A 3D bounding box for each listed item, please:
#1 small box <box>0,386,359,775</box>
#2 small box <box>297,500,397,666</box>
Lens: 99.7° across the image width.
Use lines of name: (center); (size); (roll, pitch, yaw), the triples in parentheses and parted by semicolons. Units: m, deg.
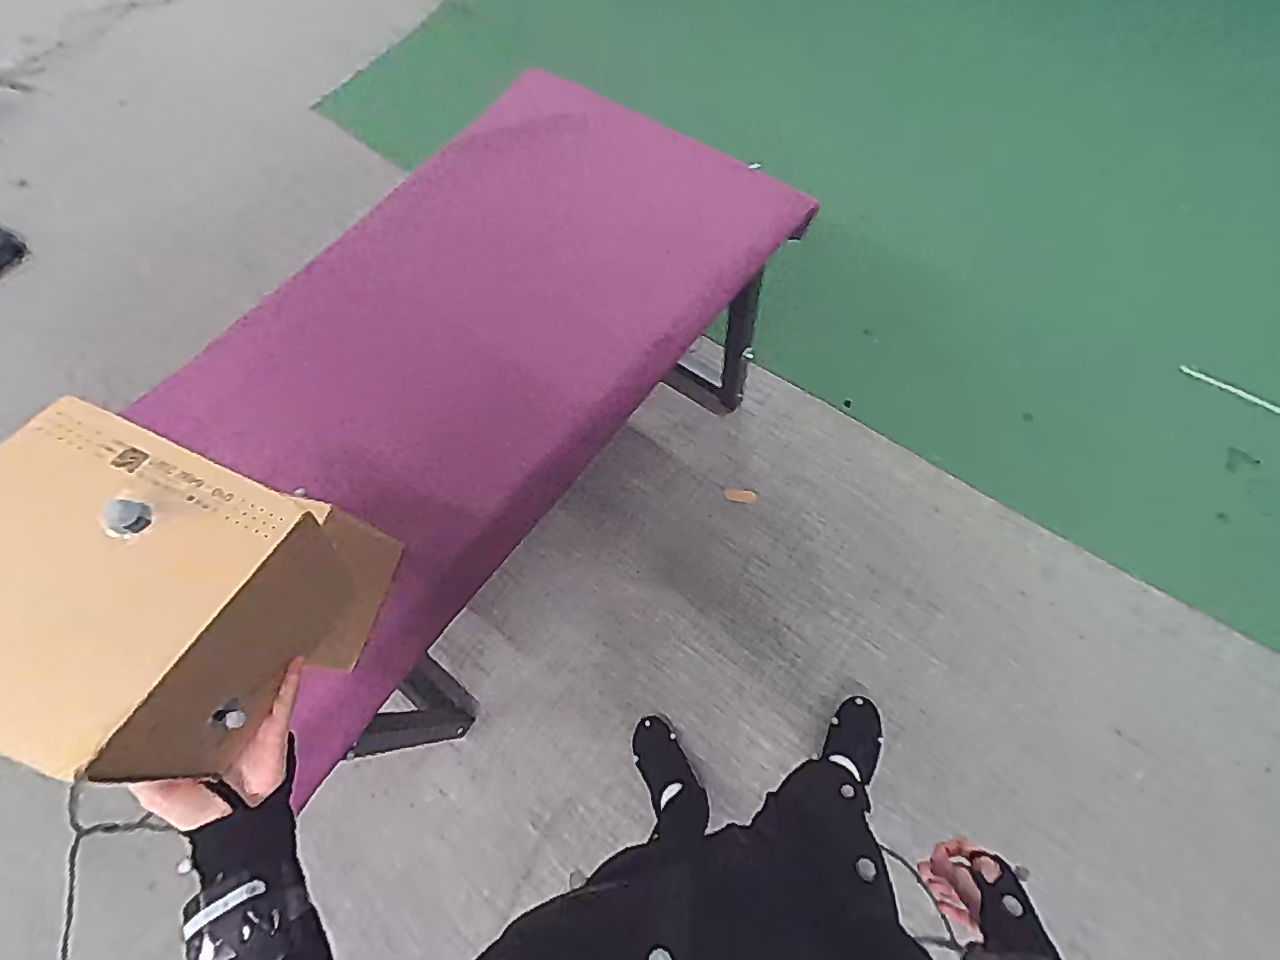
small box: (-0.323, 0.073, 0.367); (0.168, 0.179, 0.176); (27, 59, -2)
small box: (-0.432, 0.120, 0.661); (0.168, 0.176, 0.179); (11, 69, 10)
